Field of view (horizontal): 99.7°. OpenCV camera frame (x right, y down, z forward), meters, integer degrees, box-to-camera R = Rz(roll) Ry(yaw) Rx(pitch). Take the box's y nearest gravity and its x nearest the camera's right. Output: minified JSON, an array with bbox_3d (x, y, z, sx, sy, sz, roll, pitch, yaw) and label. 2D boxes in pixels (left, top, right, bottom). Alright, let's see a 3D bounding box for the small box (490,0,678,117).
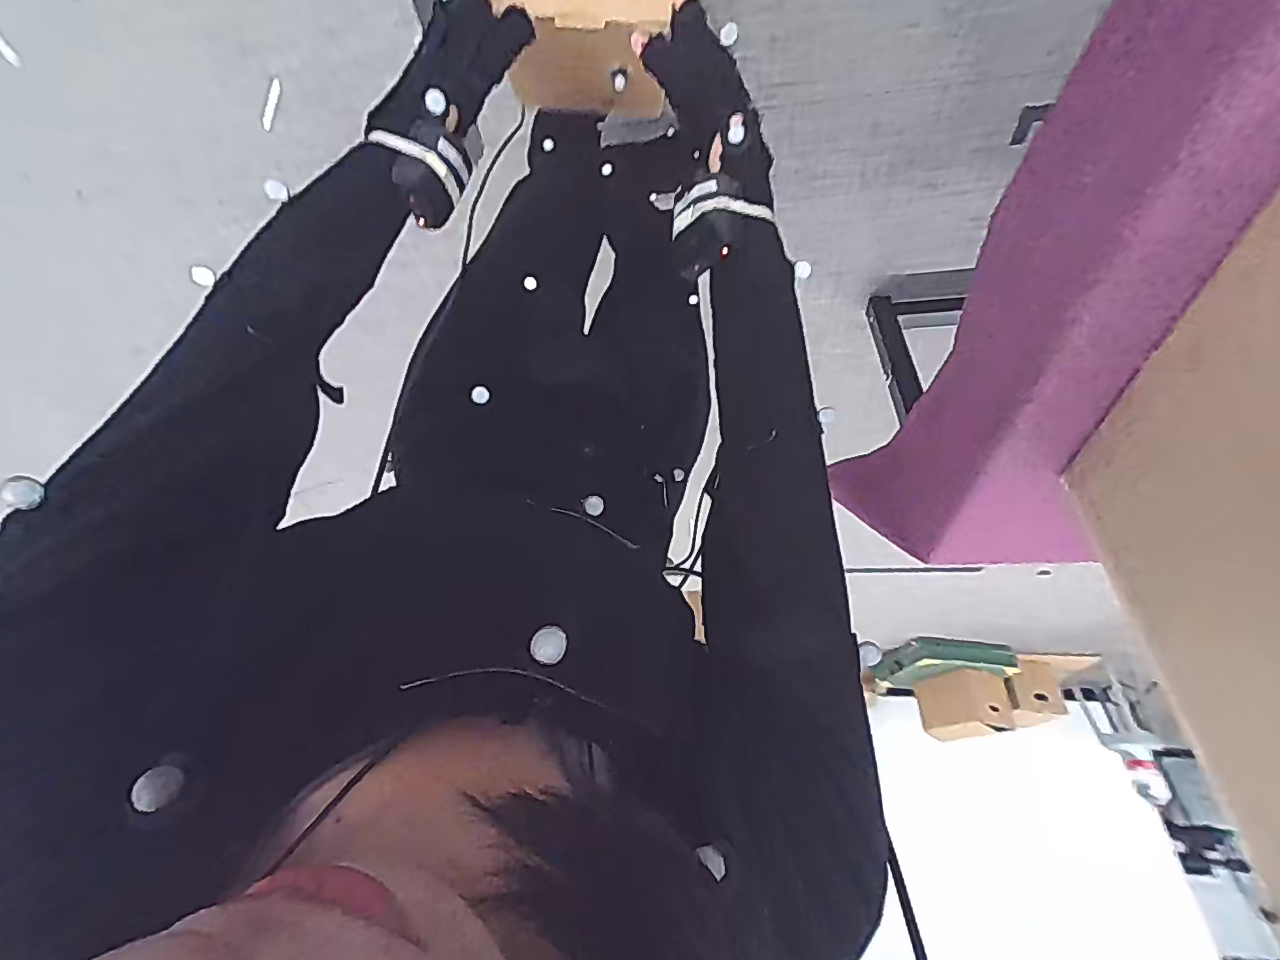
[{"bbox_3d":[-0.047,-0.492,0.533,0.168,0.179,0.176,2,-172,-4],"label":"small box"}]
